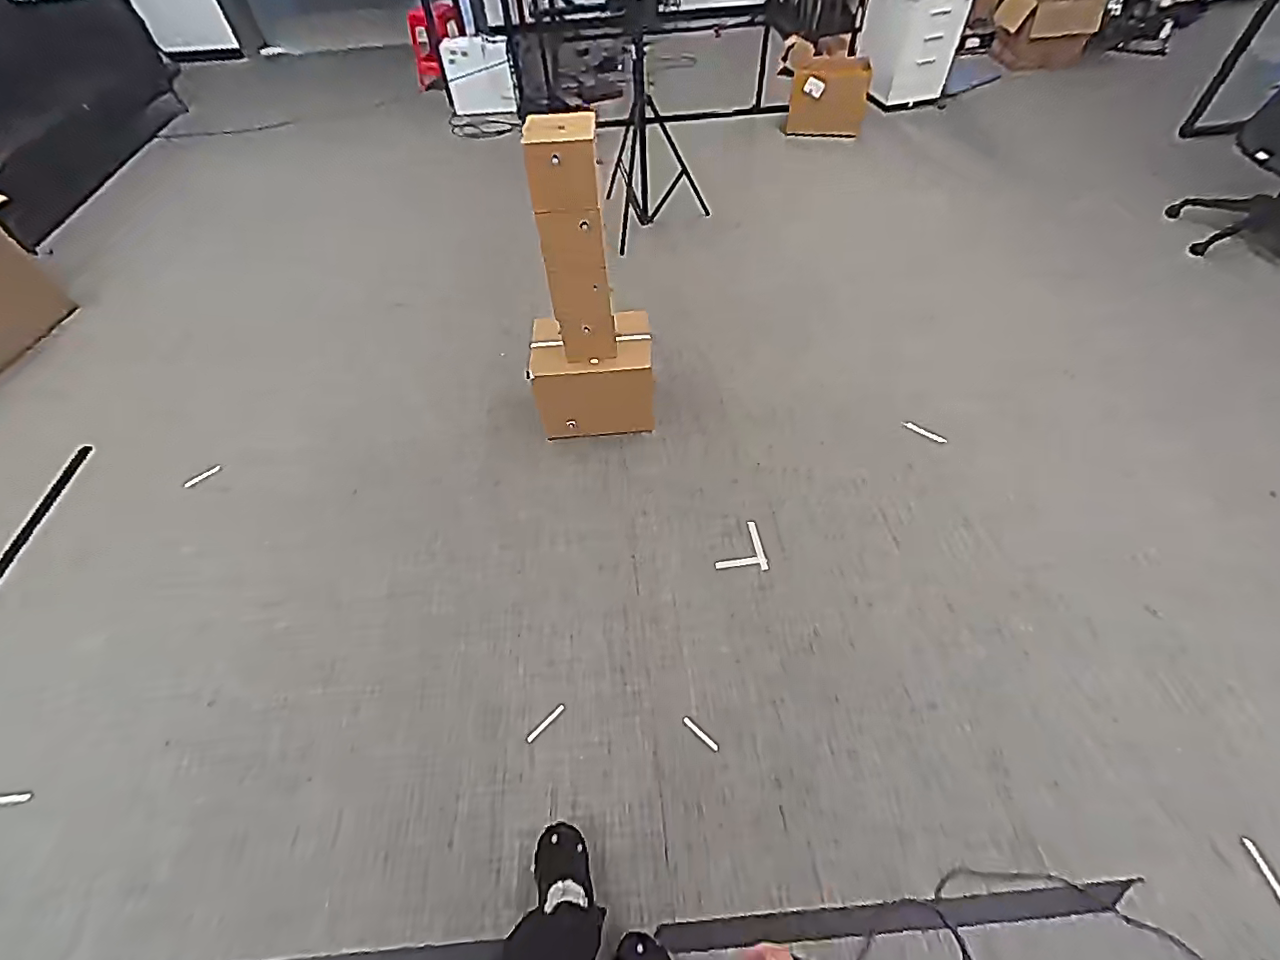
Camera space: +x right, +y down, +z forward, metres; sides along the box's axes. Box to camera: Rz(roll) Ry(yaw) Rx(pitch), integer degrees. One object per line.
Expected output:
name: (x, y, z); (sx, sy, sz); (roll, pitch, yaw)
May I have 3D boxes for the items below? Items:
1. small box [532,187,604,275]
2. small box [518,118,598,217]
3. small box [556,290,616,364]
small box: (-0.194, -0.697, 1.514); (0.179, 0.176, 0.168); (-3, 53, 1)
small box: (-0.202, -0.796, 1.386); (0.179, 0.176, 0.168); (-3, 54, 1)
small box: (-0.175, -0.497, 1.774); (0.179, 0.176, 0.168); (-6, 54, -2)
